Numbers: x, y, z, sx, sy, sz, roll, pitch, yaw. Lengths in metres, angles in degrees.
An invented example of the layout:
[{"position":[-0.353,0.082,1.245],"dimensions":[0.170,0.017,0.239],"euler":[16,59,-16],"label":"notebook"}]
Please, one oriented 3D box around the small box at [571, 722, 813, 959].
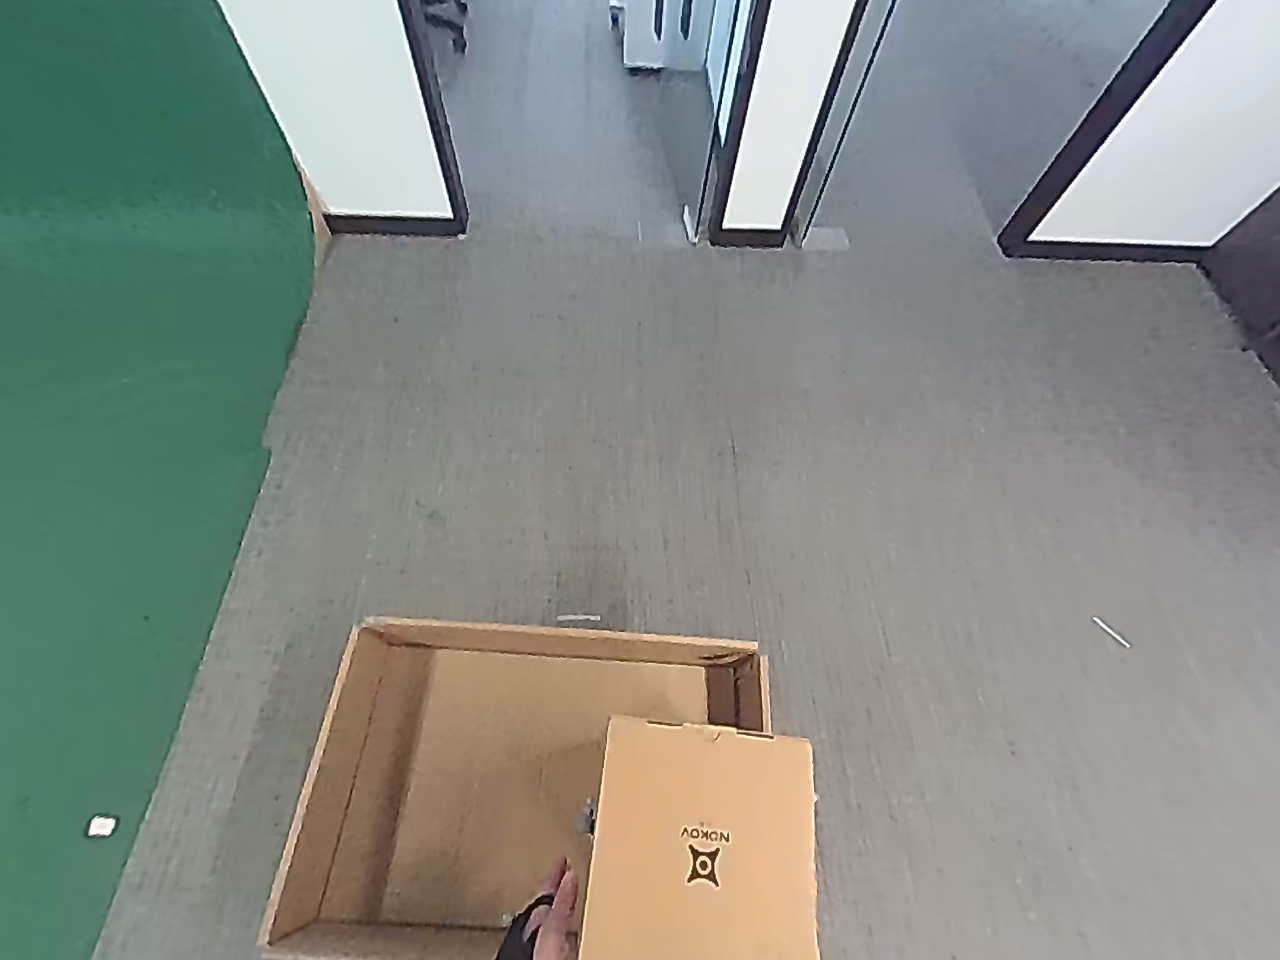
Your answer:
[{"position":[0.040,0.318,0.461],"dimensions":[0.168,0.176,0.179],"euler":[7,60,1],"label":"small box"}]
